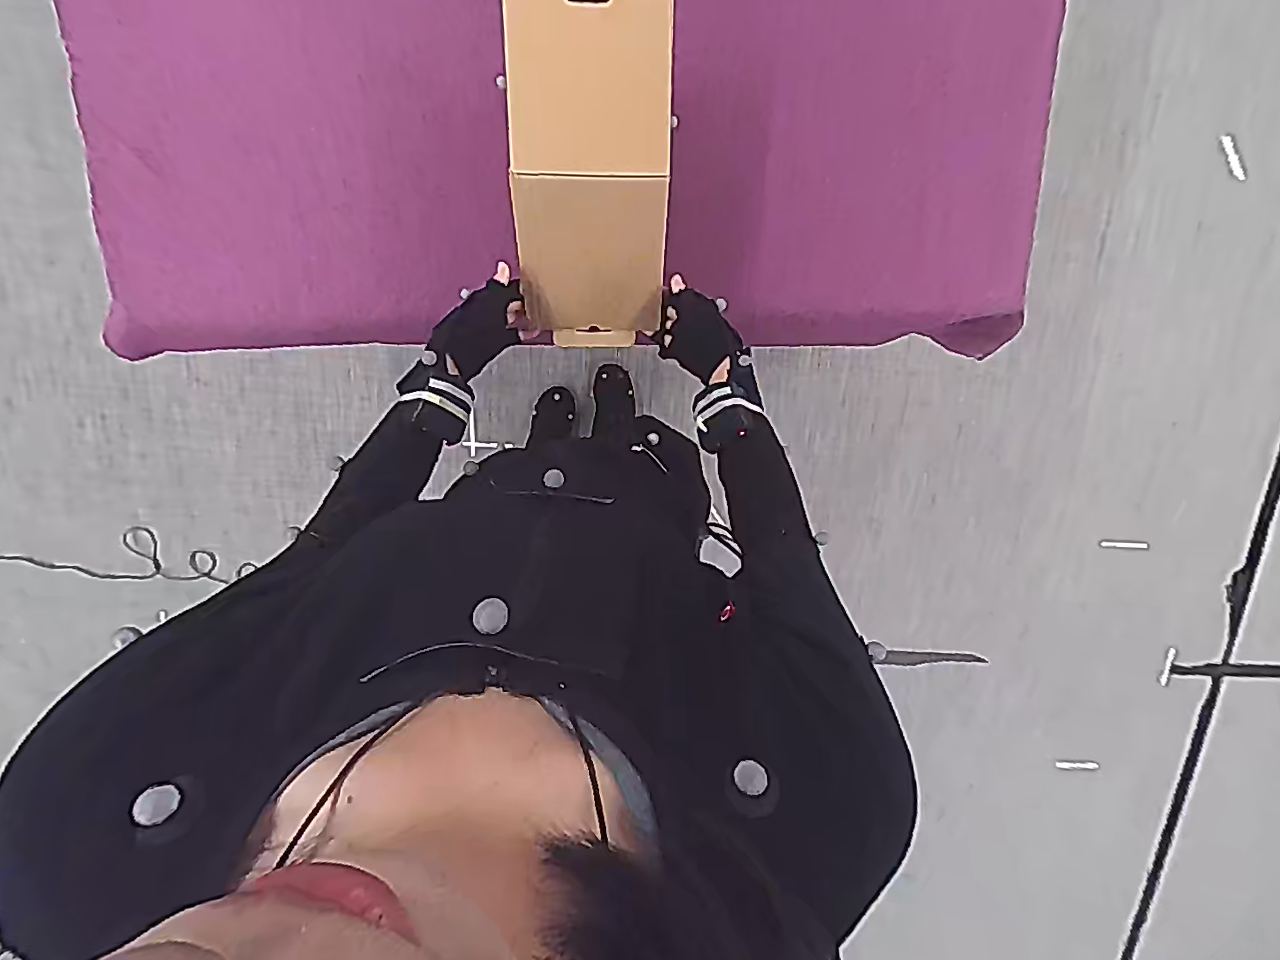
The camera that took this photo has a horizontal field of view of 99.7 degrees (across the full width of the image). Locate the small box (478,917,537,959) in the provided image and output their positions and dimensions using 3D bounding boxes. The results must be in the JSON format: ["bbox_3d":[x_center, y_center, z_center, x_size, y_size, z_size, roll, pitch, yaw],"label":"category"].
[{"bbox_3d":[-0.422,1.534,1.717,0.179,0.176,0.168,2,101,-6],"label":"small box"}]

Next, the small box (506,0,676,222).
[{"bbox_3d":[-0.054,-0.409,0.610,0.168,0.176,0.179,0,103,-4],"label":"small box"}]

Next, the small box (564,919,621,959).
[{"bbox_3d":[-0.157,1.557,1.738,0.179,0.176,0.168,5,102,-4],"label":"small box"}]
